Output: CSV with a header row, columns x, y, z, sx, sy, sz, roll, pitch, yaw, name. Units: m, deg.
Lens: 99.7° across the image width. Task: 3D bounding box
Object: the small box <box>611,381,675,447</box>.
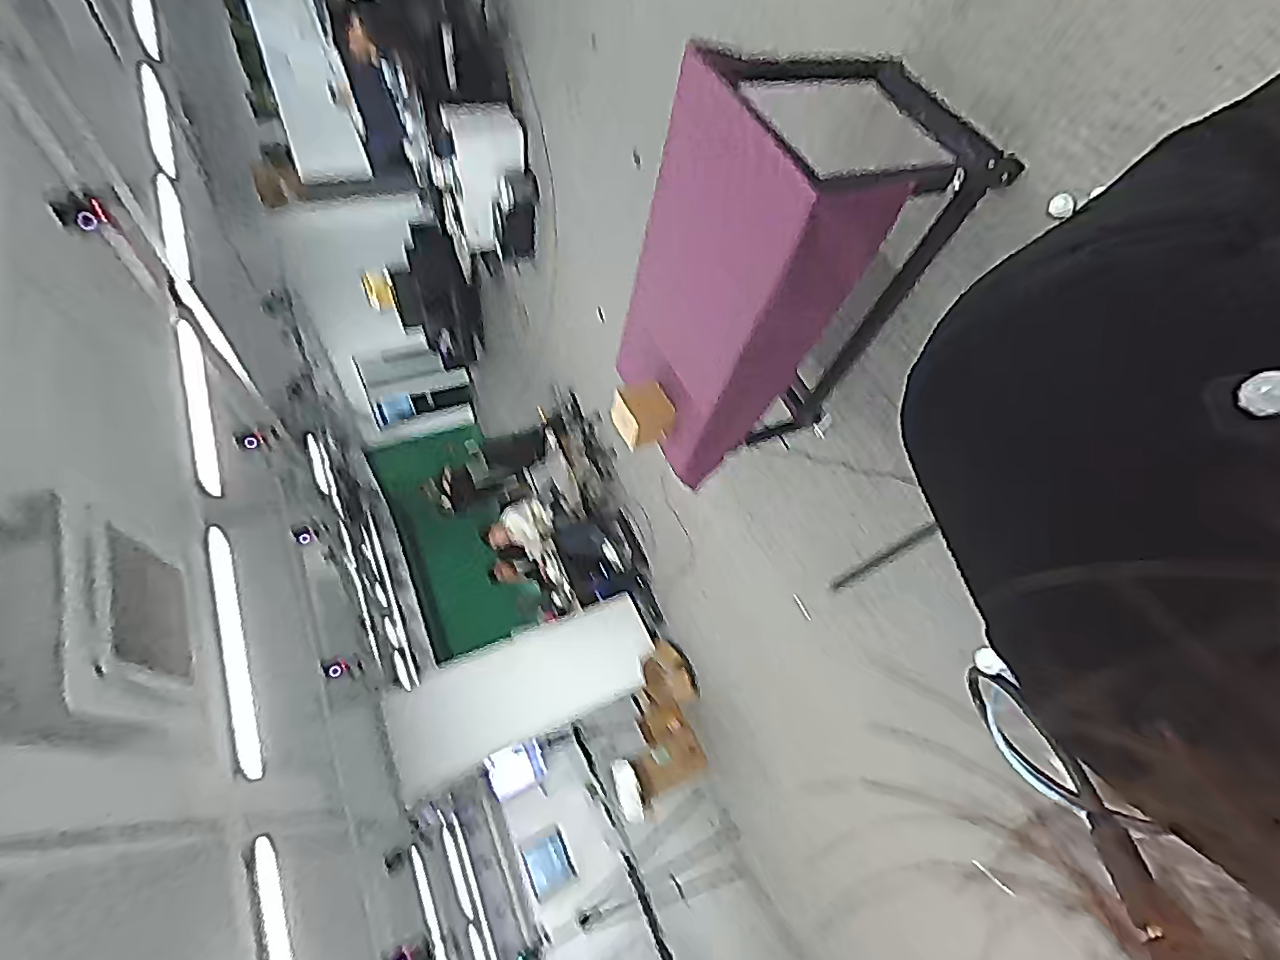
x,y,z,sx,sy,sz,roll,pitch,yaw,name
0.009,-0.256,2.047,0.179,0.176,0.168,61,156,25,small box
